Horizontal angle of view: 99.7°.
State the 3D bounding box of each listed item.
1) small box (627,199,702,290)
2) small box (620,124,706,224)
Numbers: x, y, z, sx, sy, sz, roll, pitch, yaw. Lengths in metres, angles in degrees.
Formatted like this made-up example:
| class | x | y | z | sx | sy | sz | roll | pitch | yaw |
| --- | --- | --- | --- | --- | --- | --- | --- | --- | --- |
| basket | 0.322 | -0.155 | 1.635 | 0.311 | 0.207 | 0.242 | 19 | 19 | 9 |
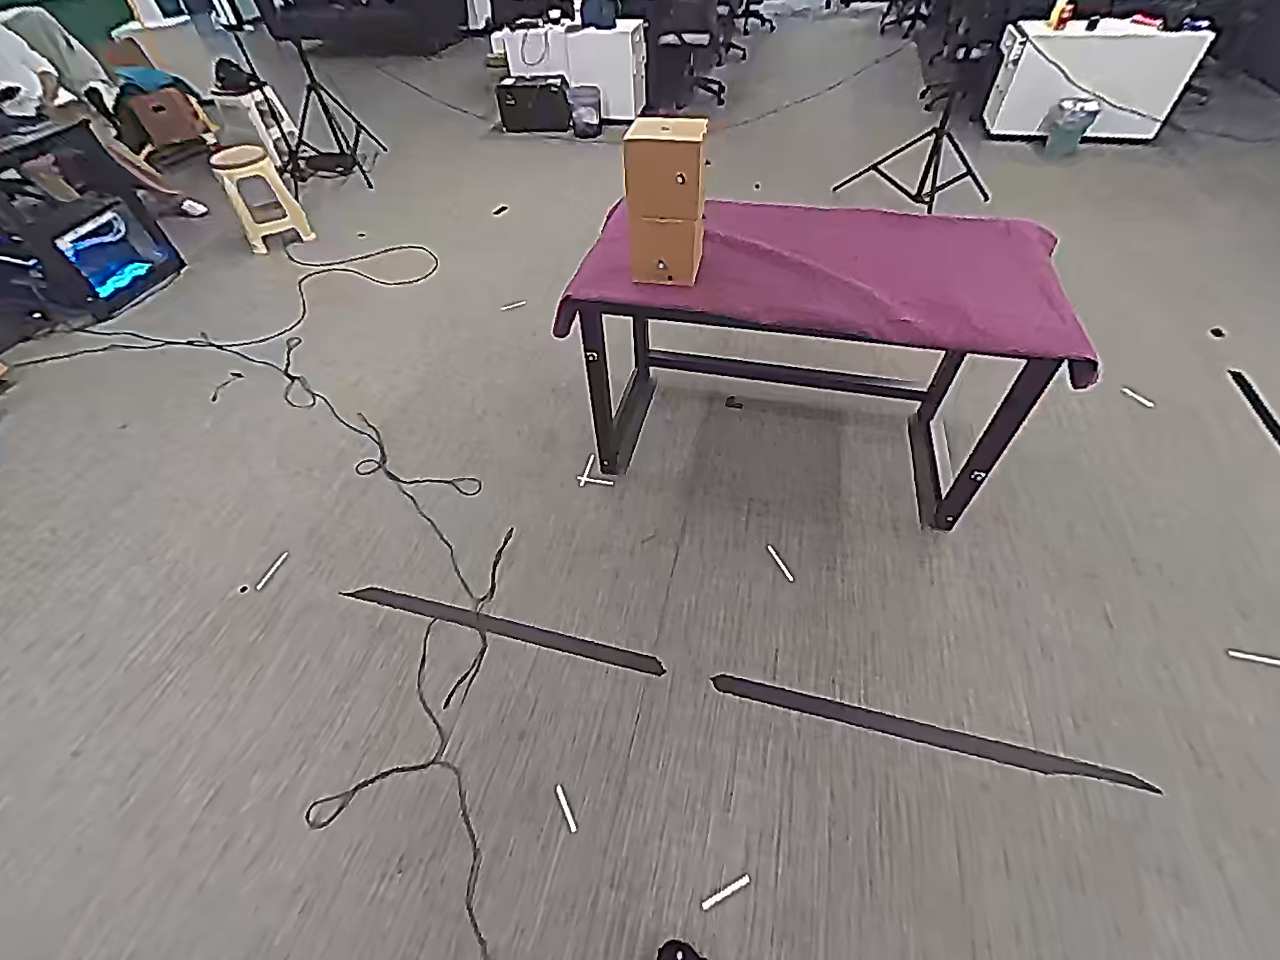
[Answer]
| class | x | y | z | sx | sy | sz | roll | pitch | yaw |
| --- | --- | --- | --- | --- | --- | --- | --- | --- | --- |
| small box | 0.066 | -0.619 | 1.410 | 0.168 | 0.176 | 0.179 | 7 | 50 | 9 |
| small box | 0.059 | -0.727 | 1.289 | 0.179 | 0.176 | 0.168 | 6 | 48 | 9 |
